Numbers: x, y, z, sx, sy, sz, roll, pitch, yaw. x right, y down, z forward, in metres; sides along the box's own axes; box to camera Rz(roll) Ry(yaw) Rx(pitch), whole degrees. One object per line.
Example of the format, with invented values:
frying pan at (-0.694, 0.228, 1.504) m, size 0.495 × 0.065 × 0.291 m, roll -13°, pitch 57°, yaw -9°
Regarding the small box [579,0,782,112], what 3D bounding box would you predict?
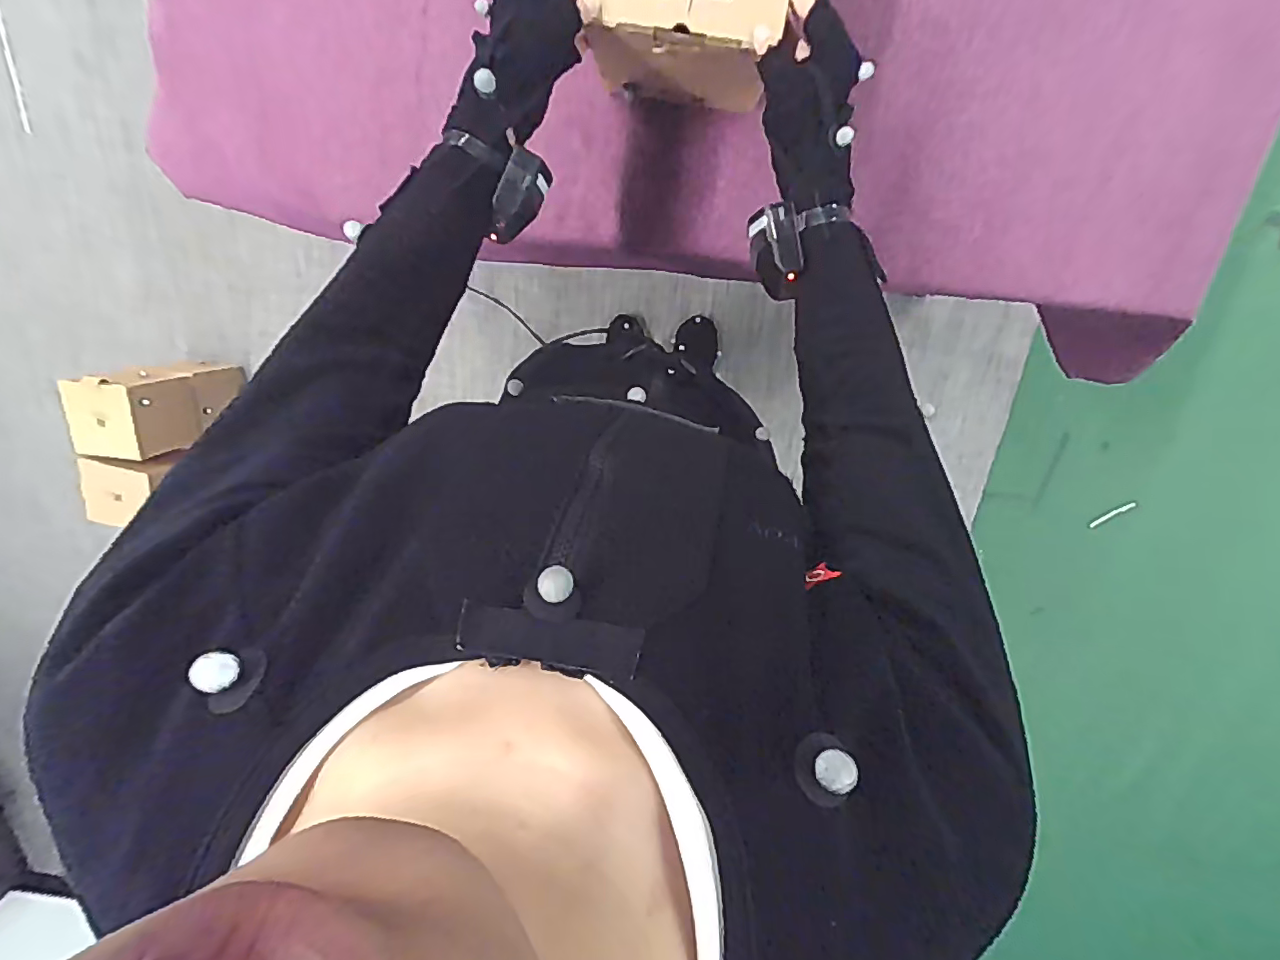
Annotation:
small box at (0.048, -0.467, 0.494) m, size 0.168 × 0.176 × 0.179 m, roll 9°, pitch 109°, yaw 0°
